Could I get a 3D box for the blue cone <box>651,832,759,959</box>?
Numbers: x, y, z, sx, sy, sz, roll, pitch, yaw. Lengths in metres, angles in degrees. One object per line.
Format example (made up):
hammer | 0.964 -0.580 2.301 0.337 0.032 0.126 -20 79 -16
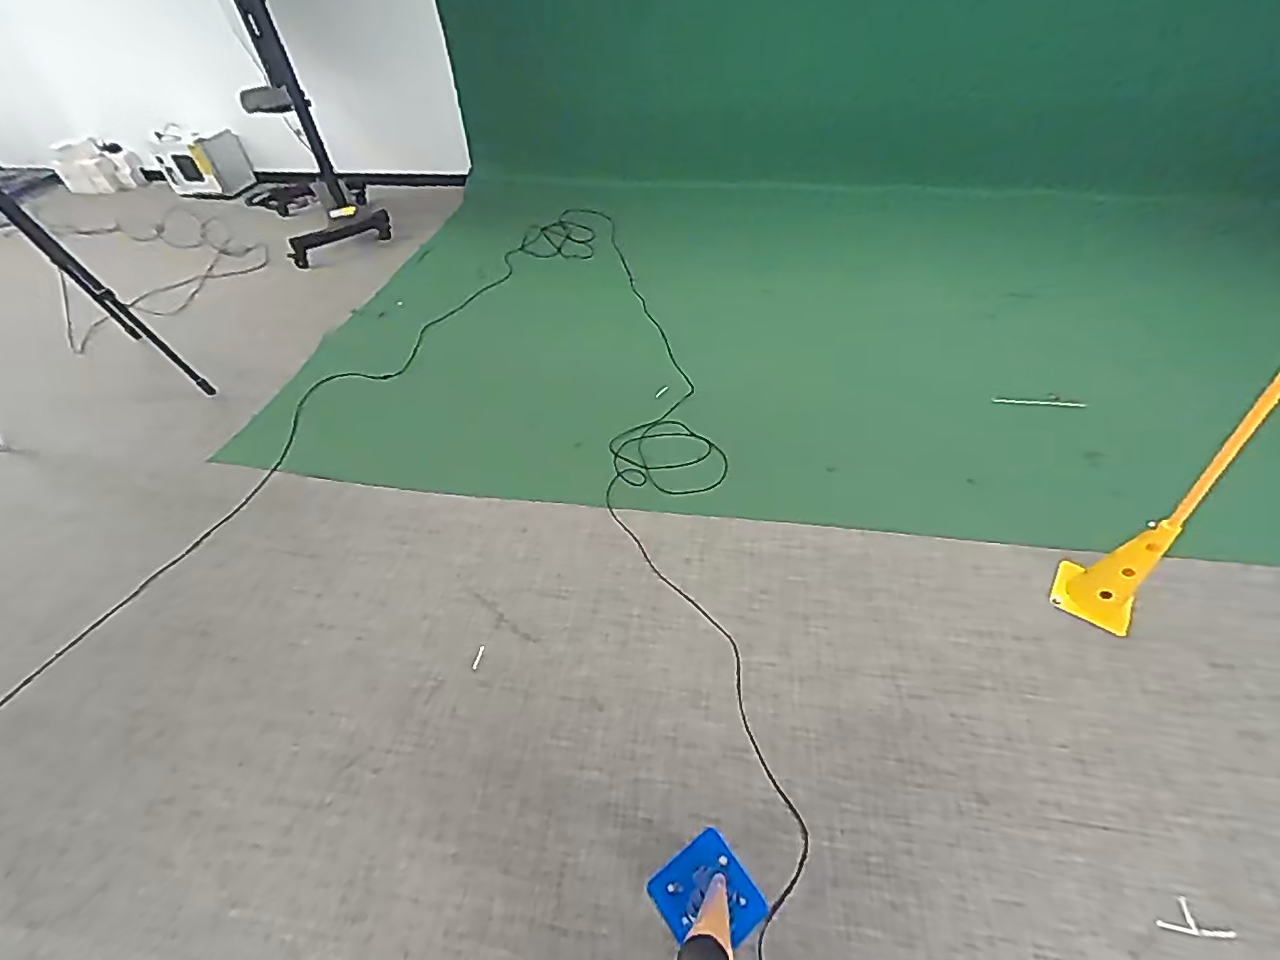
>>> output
blue cone | 0.134 0.799 1.044 0.193 0.380 0.192 -31 54 -22
